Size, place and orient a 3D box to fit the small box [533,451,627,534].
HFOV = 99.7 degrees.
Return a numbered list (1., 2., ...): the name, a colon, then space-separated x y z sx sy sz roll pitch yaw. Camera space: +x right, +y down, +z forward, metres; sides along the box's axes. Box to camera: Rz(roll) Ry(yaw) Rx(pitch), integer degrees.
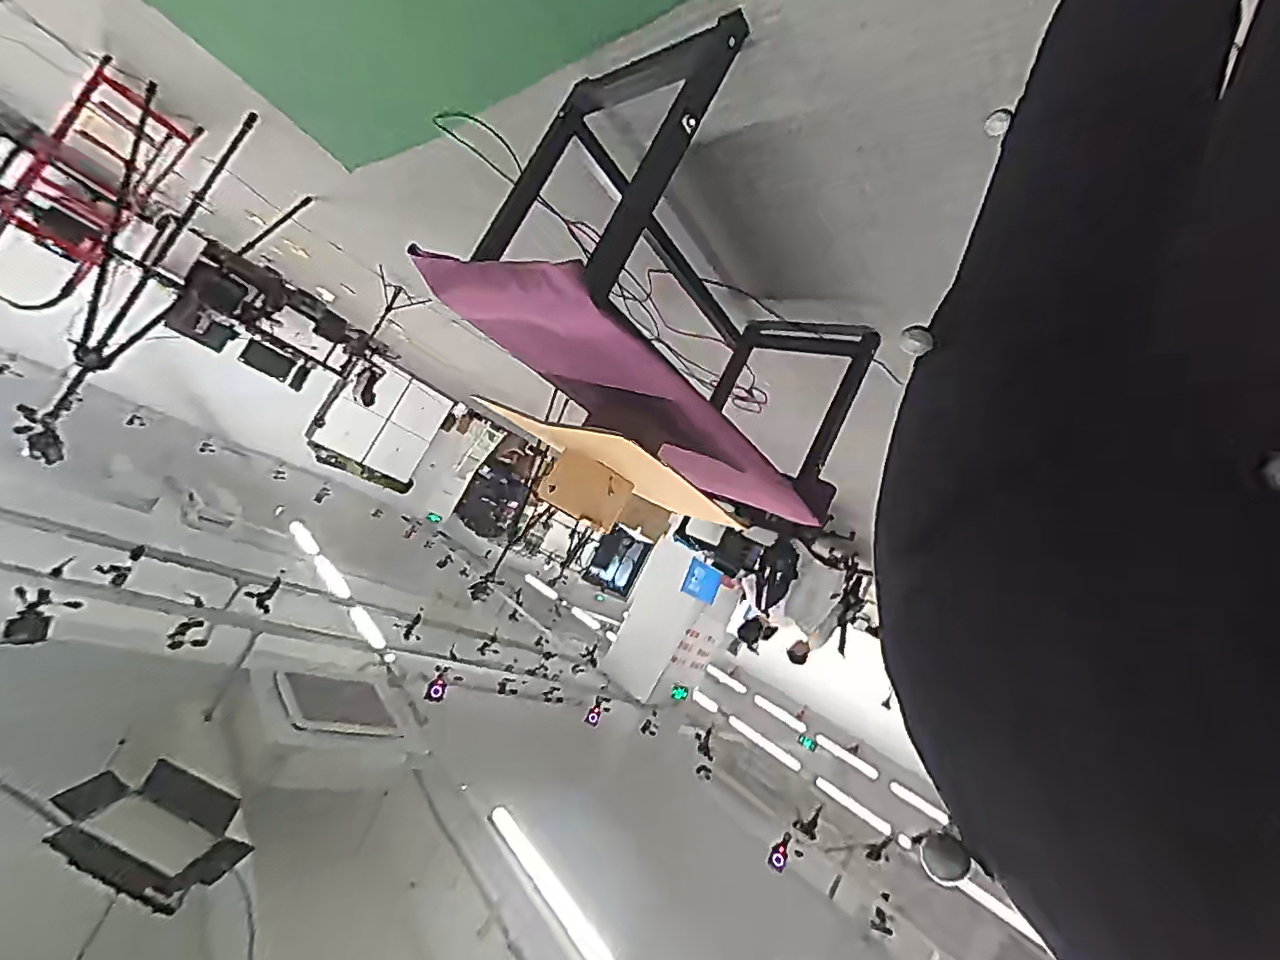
1. small box: -0.169 0.031 1.572 0.179 0.176 0.168 22 172 41
